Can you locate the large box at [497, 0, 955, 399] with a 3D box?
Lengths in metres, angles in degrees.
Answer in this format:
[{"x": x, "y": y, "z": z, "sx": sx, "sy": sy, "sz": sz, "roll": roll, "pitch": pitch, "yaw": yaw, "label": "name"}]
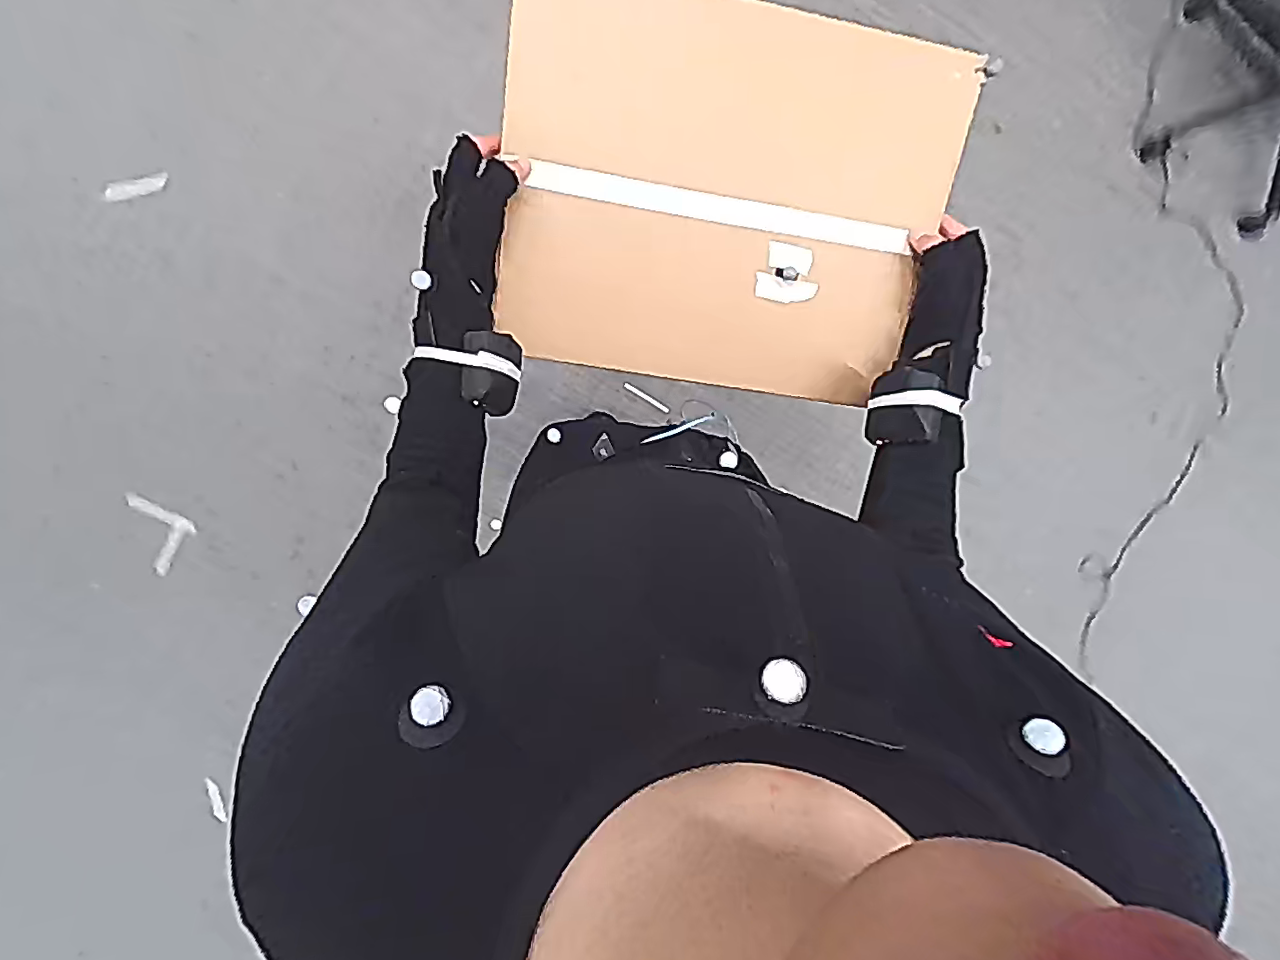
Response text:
[{"x": 0.056, "y": -0.291, "z": 0.645, "sx": 0.408, "sy": 0.320, "sz": 0.320, "roll": 5, "pitch": 108, "yaw": -8, "label": "large box"}]
